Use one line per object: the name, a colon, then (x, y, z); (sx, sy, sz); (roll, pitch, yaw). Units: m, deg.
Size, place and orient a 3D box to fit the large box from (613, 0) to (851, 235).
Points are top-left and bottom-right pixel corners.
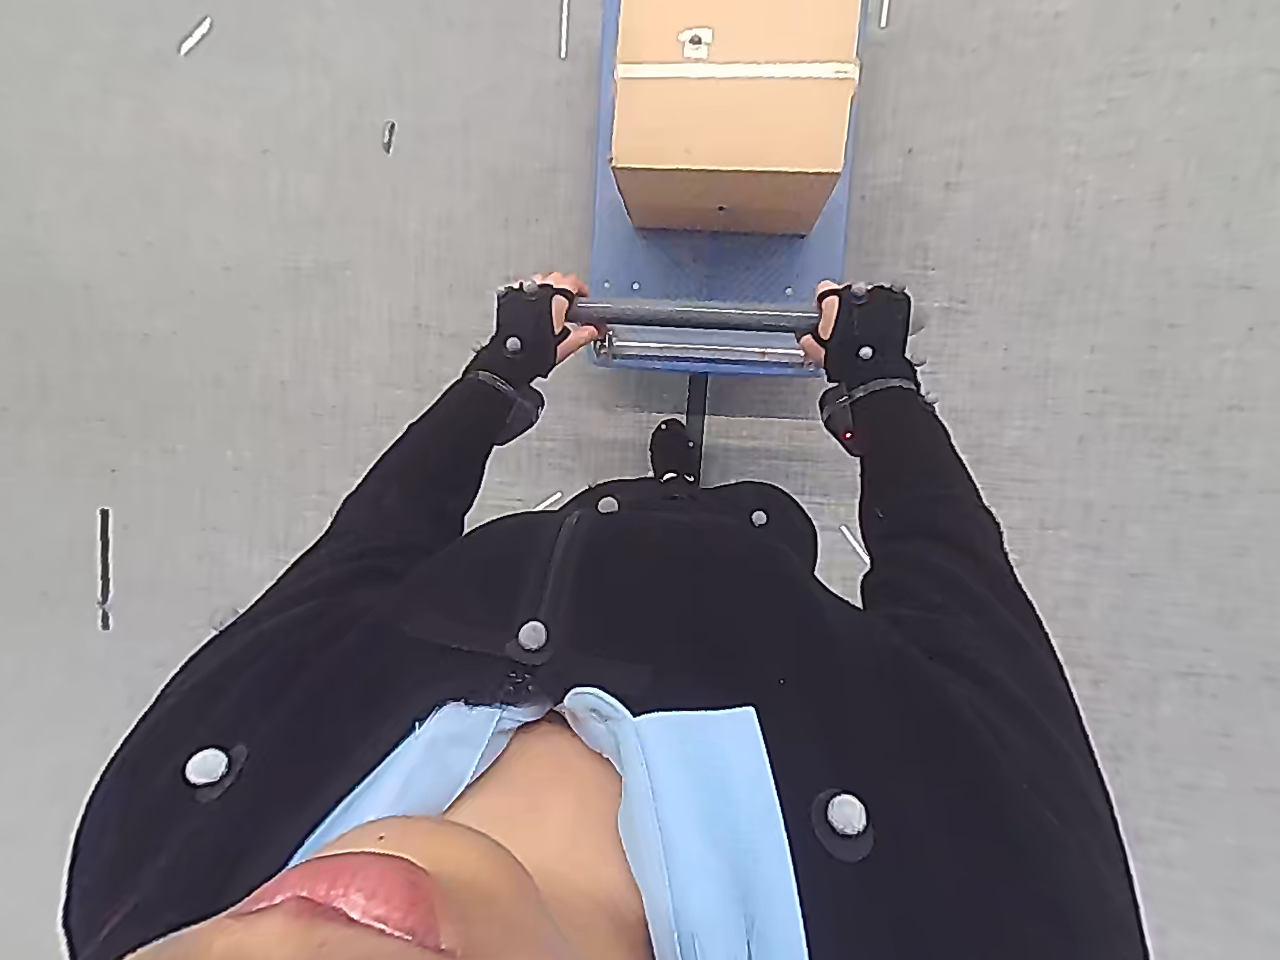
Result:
large box: (0.176, -0.708, 1.098); (0.408, 0.320, 0.320); (5, 95, 7)
